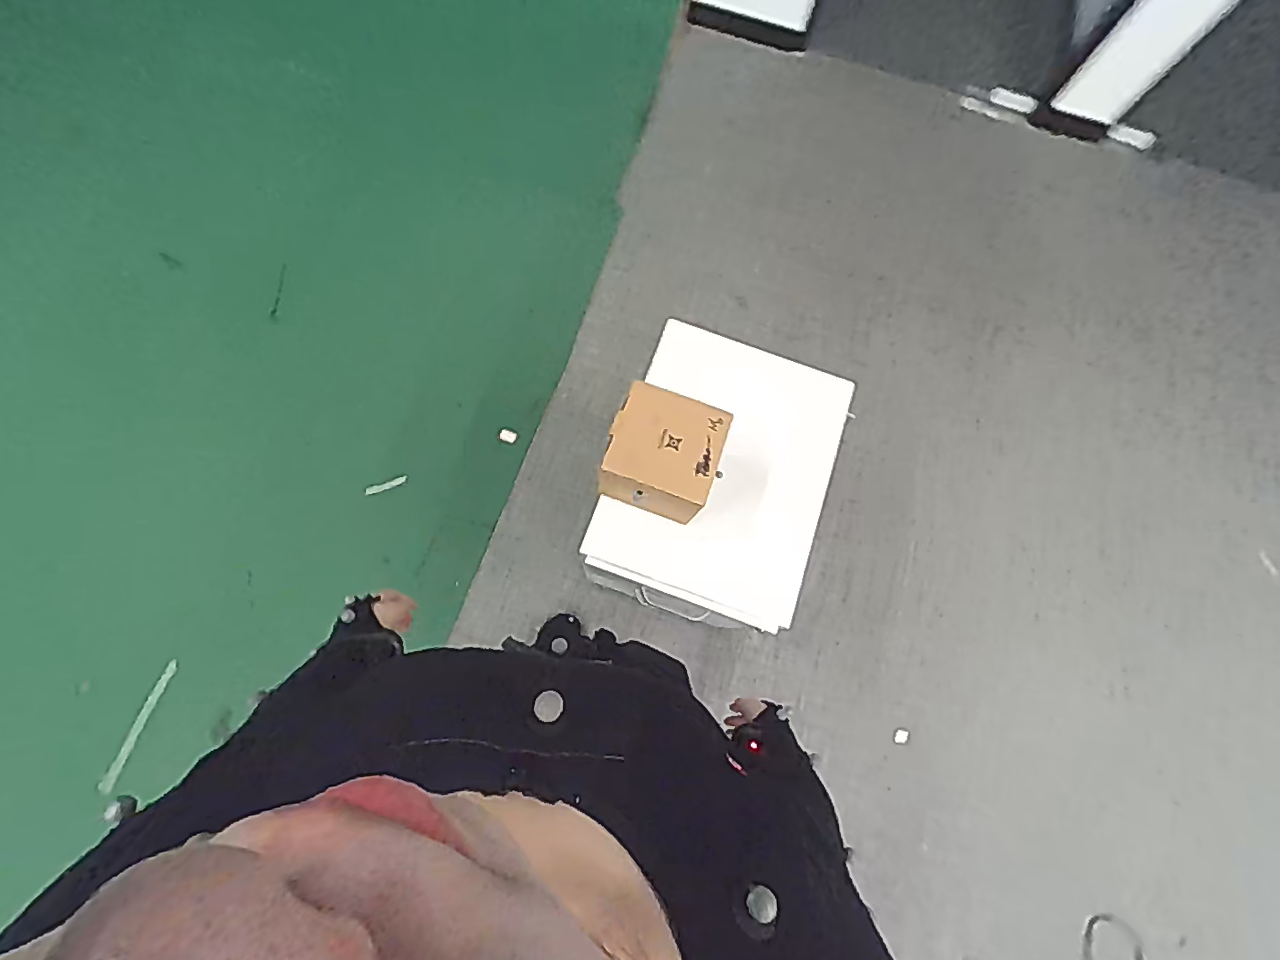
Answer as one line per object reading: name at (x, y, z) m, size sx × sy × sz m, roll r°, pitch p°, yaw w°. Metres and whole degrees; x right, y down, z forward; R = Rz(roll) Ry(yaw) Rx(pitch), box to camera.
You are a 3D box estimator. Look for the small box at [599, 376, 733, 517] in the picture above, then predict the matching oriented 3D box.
small box at (0.037, -0.047, 0.929) m, size 0.179 × 0.176 × 0.168 m, roll 20°, pitch 75°, yaw 0°
